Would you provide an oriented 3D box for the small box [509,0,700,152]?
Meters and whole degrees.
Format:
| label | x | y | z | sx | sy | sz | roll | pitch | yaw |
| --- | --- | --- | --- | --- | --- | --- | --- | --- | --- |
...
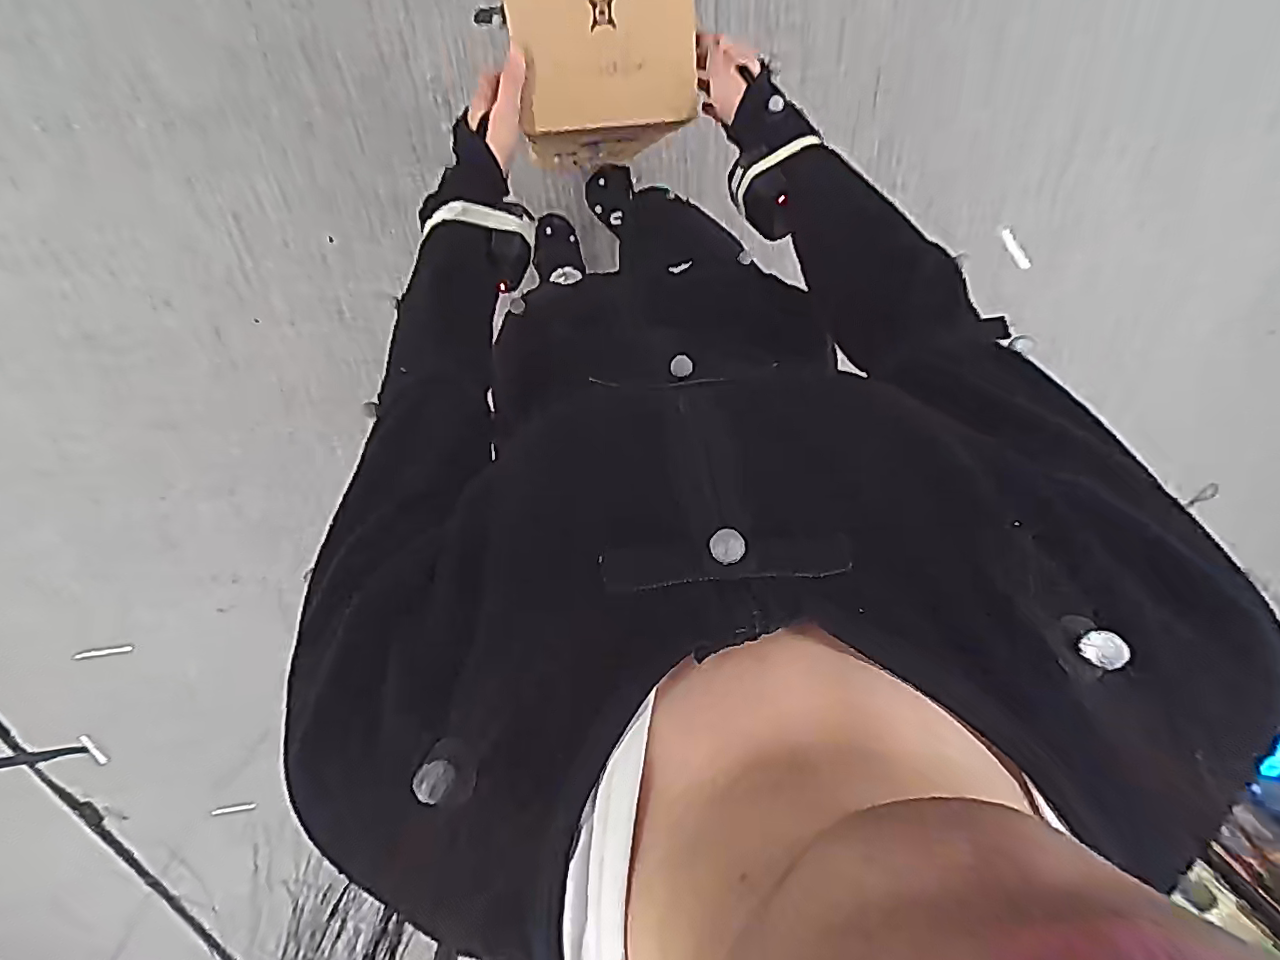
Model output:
| label | x | y | z | sx | sy | sz | roll | pitch | yaw |
| --- | --- | --- | --- | --- | --- | --- | --- | --- | --- |
| small box | -0.040 | -0.437 | 0.534 | 0.168 | 0.176 | 0.179 | -8 | 119 | -4 |
